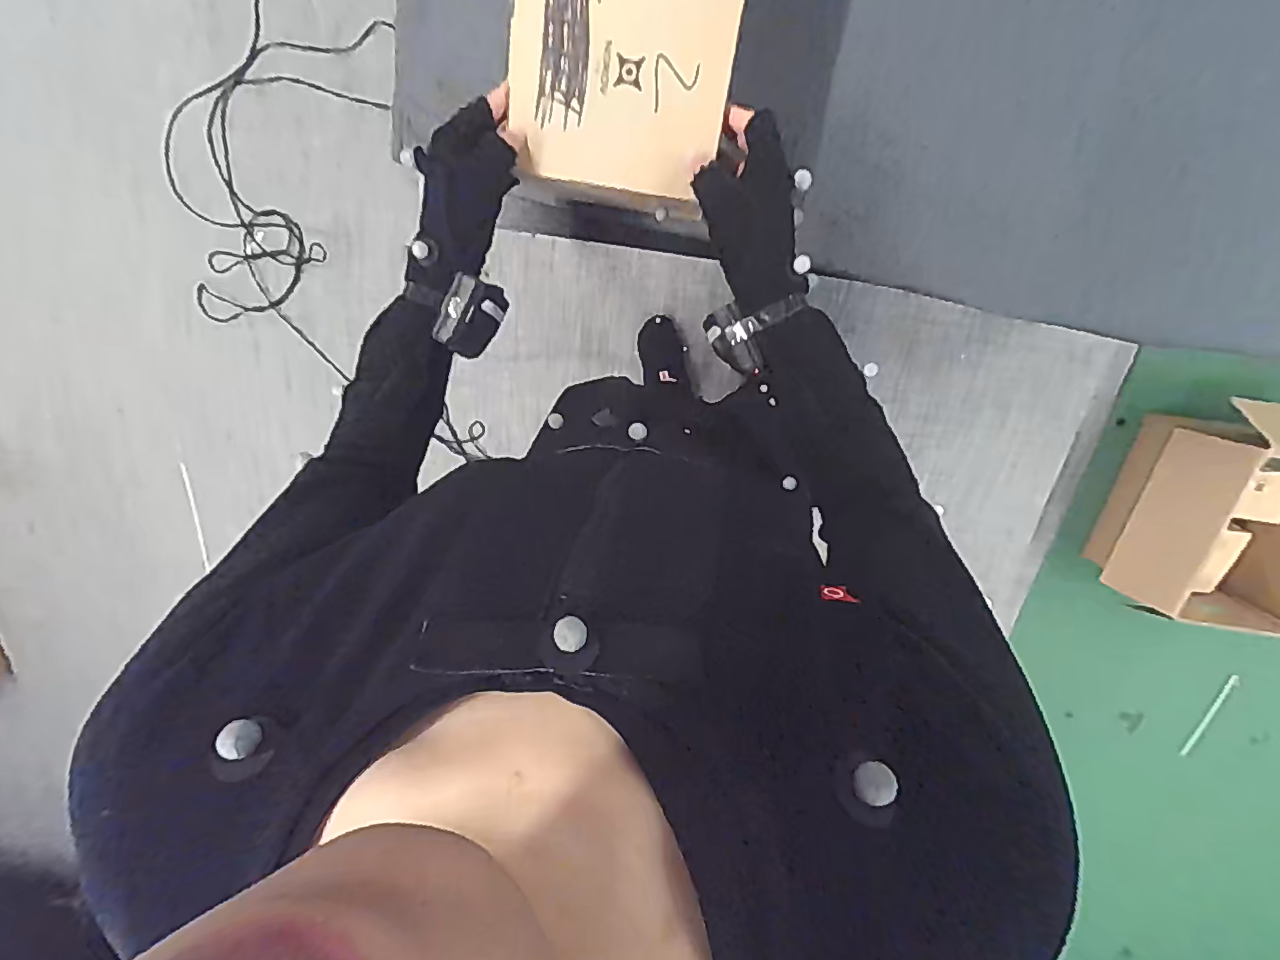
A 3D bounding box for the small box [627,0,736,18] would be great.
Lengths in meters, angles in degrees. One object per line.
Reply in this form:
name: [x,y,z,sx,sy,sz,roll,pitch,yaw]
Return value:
small box: [0.024,-0.520,0.439,0.179,0.176,0.168,13,111,1]
